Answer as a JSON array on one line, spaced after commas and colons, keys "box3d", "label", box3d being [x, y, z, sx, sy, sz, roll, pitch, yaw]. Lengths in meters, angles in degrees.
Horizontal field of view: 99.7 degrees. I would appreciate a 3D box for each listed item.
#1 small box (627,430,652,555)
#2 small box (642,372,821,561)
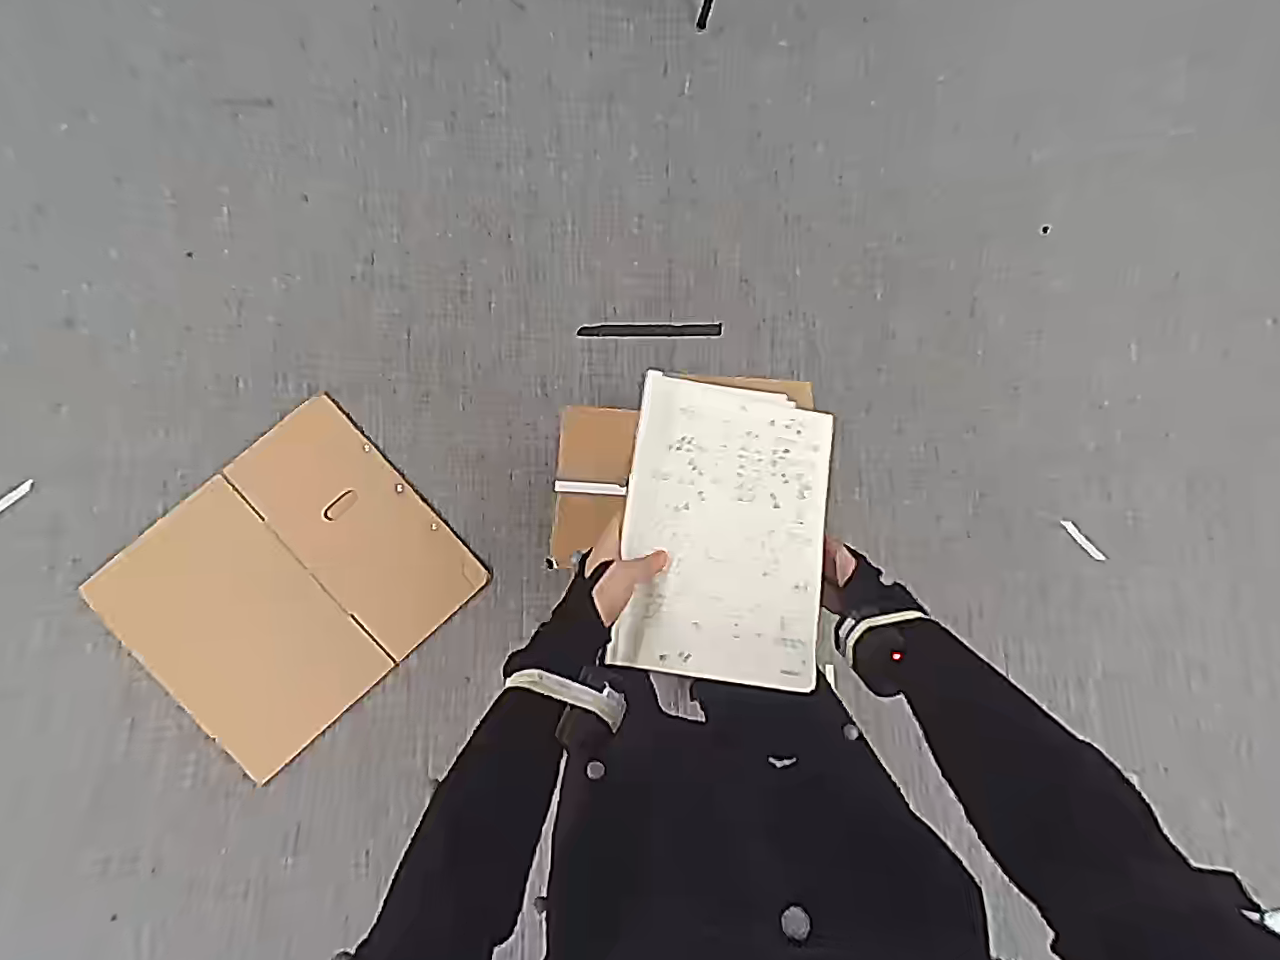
[{"box3d": [0.076, 0.024, 0.787, 0.179, 0.176, 0.168, 3, 86, -3], "label": "small box"}, {"box3d": [0.091, -0.004, 0.614, 0.168, 0.176, 0.179, 3, 78, -4], "label": "small box"}]
